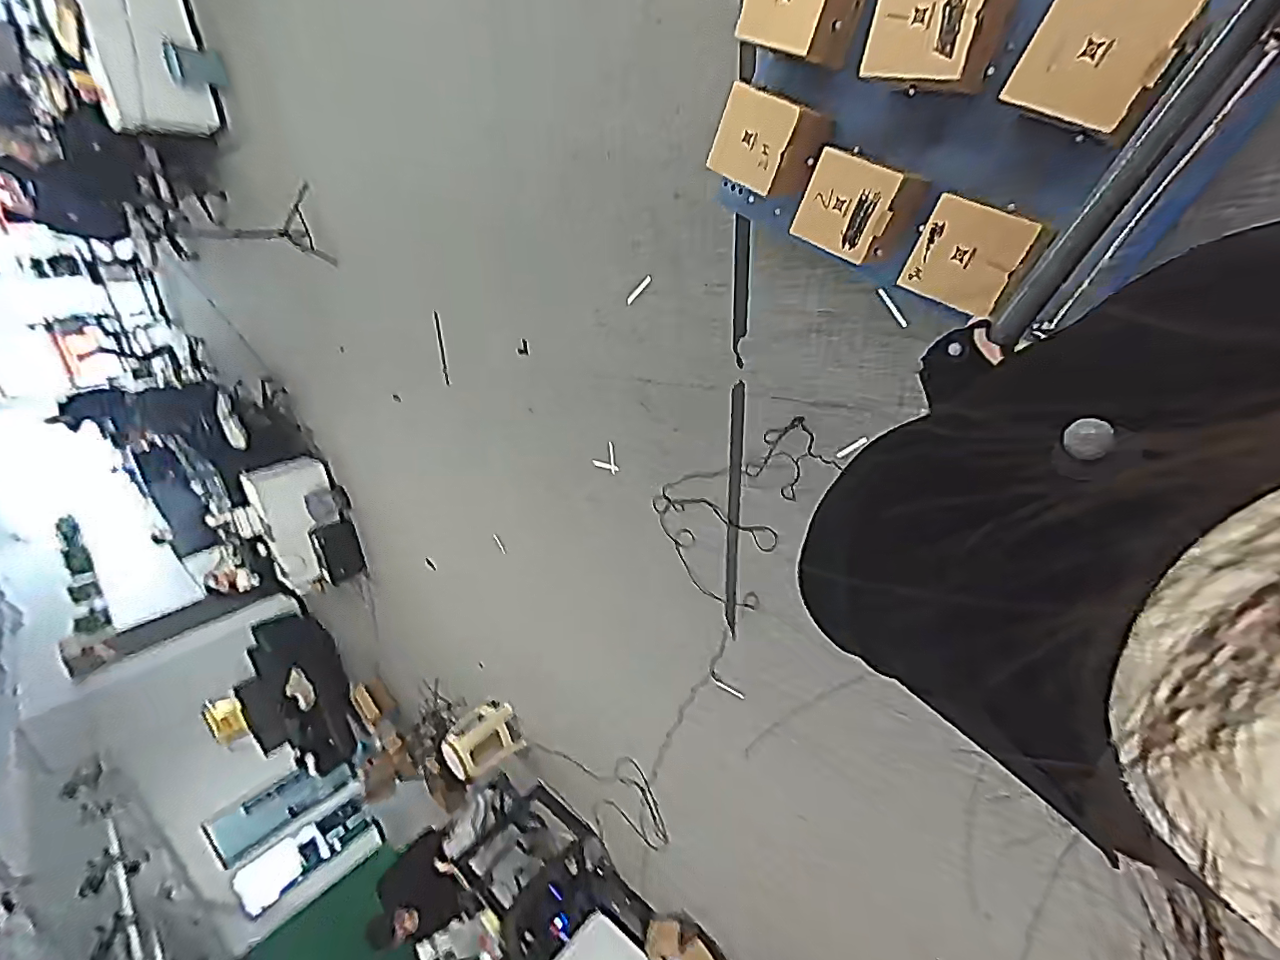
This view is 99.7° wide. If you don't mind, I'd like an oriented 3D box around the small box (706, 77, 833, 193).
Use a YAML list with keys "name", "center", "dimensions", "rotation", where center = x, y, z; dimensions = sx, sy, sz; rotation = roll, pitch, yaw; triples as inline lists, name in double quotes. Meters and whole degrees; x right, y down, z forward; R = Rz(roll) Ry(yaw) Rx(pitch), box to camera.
- name: "small box"
  center: [0.282, -0.742, 1.180]
  dimensions: [0.179, 0.176, 0.168]
  rotation: [40, 132, 21]

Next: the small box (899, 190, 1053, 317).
- name: "small box"
  center: [0.627, -0.426, 1.007]
  dimensions: [0.179, 0.176, 0.168]
  rotation: [36, 130, 25]

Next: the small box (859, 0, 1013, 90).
- name: "small box"
  center: [0.518, -0.790, 0.935]
  dimensions: [0.179, 0.176, 0.168]
  rotation: [30, 128, 31]

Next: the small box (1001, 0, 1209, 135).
- name: "small box"
  center: [0.705, -0.650, 0.827]
  dimensions: [0.179, 0.176, 0.168]
  rotation: [41, 132, 23]

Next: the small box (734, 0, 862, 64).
- name: "small box"
  center: [0.320, -0.936, 1.052]
  dimensions: [0.179, 0.176, 0.168]
  rotation: [37, 131, 25]
